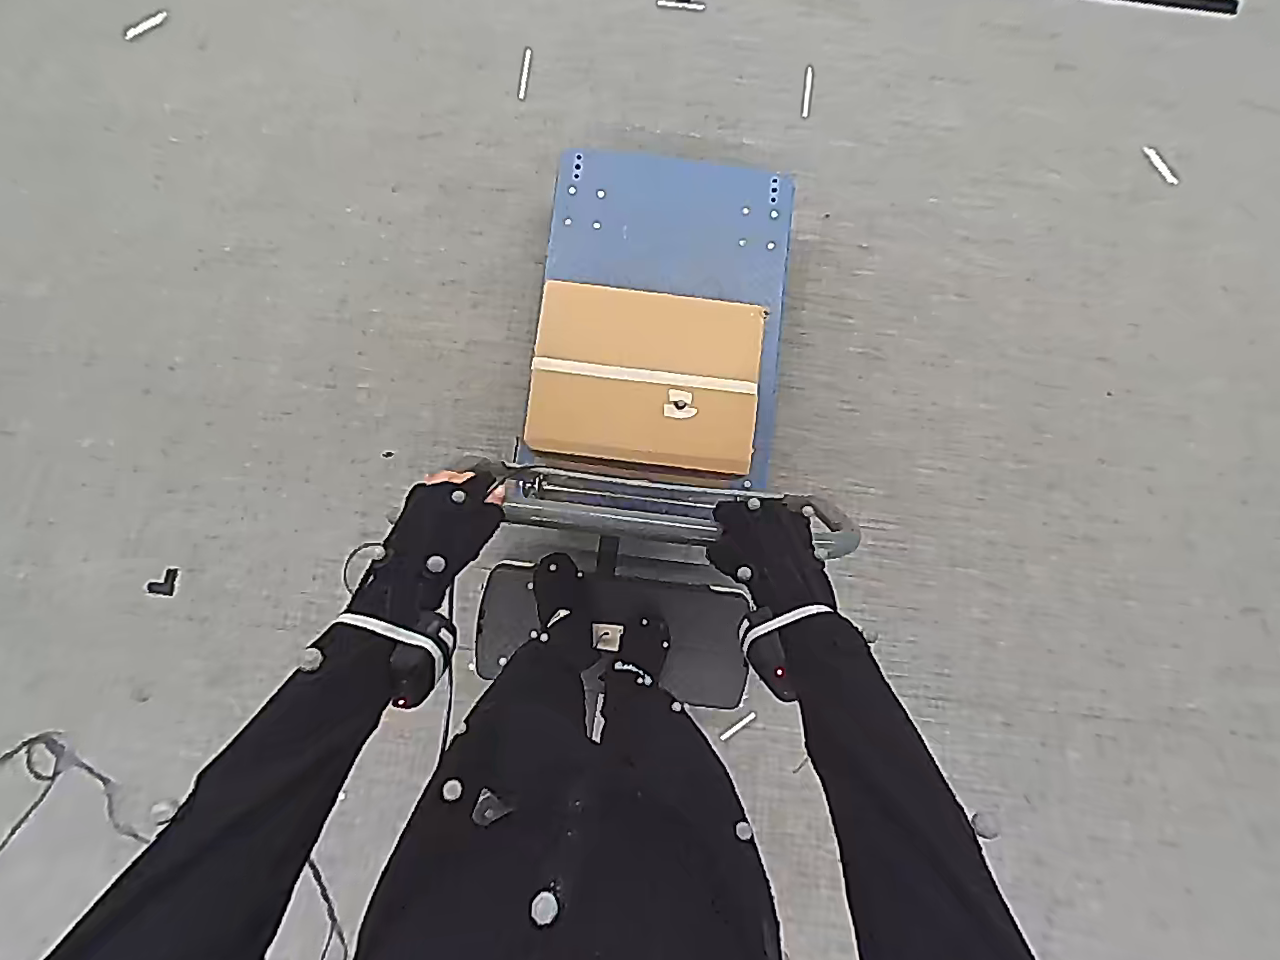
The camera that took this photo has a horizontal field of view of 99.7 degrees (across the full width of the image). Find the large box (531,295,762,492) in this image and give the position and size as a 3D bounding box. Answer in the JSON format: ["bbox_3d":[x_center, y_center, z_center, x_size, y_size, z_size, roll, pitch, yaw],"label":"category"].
[{"bbox_3d":[0.008,-0.157,1.137,0.408,0.320,0.320,7,85,-1],"label":"large box"}]
